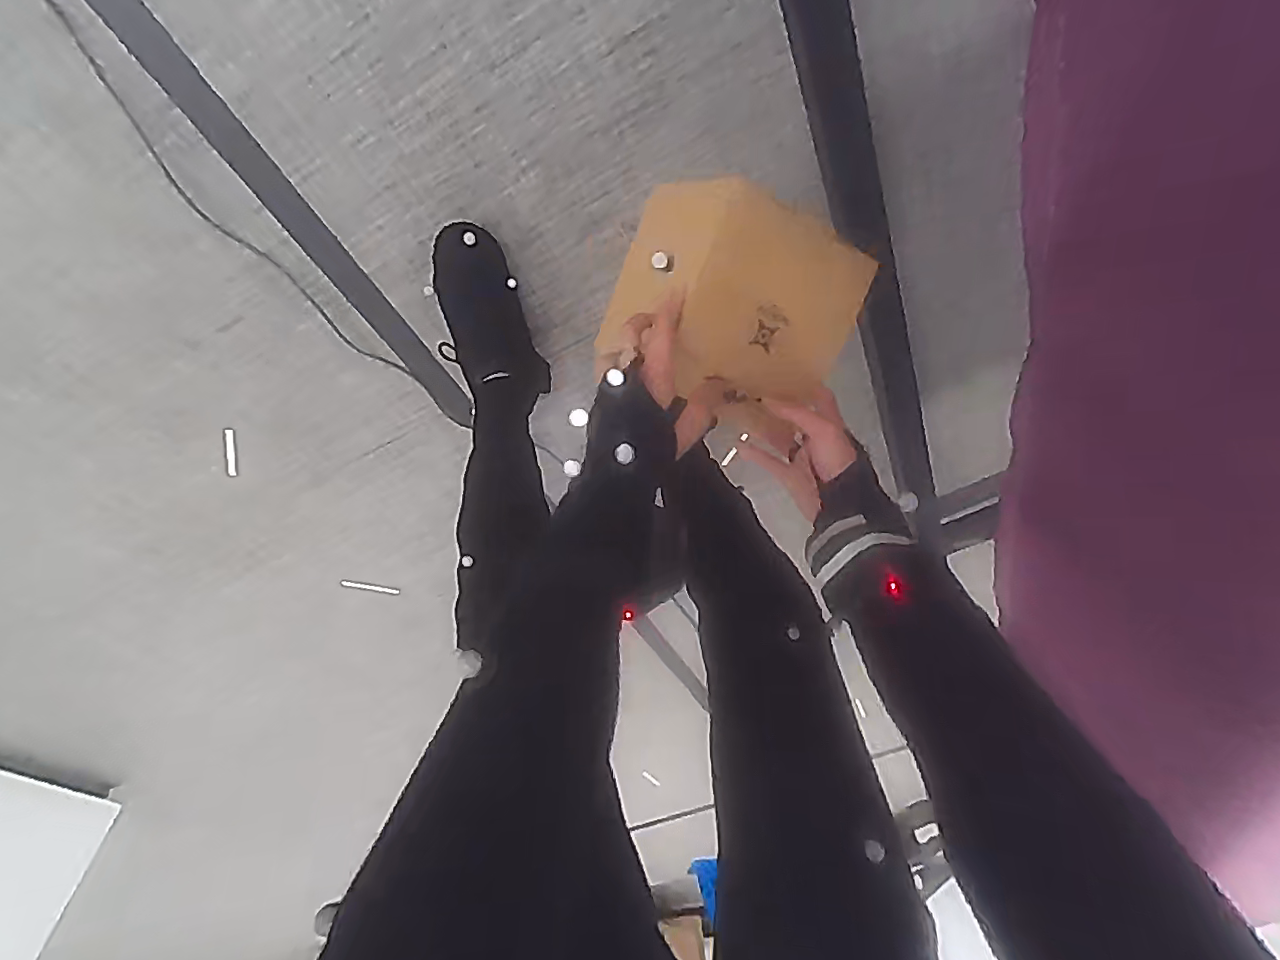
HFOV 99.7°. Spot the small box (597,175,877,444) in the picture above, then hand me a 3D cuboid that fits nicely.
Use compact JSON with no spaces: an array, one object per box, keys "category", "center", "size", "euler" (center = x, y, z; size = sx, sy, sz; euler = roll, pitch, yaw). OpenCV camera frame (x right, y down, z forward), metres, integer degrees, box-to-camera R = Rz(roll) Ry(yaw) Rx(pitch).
[{"category":"small box","center":[0.075,-0.160,0.514],"size":[0.168,0.176,0.179],"euler":[13,109,-27]}]
